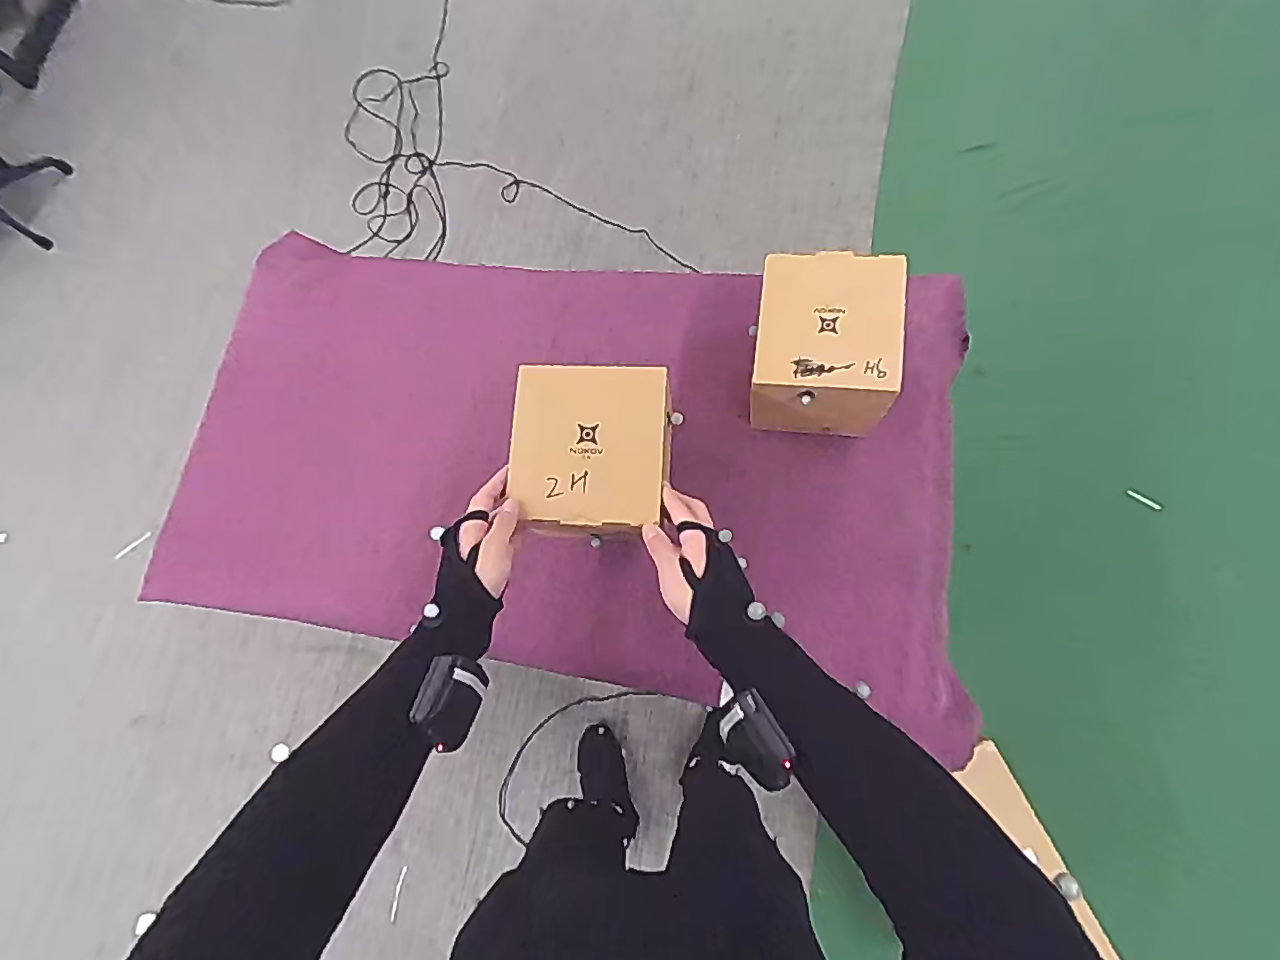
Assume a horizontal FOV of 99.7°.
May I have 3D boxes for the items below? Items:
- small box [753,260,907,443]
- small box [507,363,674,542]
[{"bbox_3d":[0.241,-0.164,0.718,0.168,0.176,0.179,6,76,13],"label":"small box"},{"bbox_3d":[-0.047,-0.025,0.655,0.168,0.176,0.179,2,78,6],"label":"small box"}]
